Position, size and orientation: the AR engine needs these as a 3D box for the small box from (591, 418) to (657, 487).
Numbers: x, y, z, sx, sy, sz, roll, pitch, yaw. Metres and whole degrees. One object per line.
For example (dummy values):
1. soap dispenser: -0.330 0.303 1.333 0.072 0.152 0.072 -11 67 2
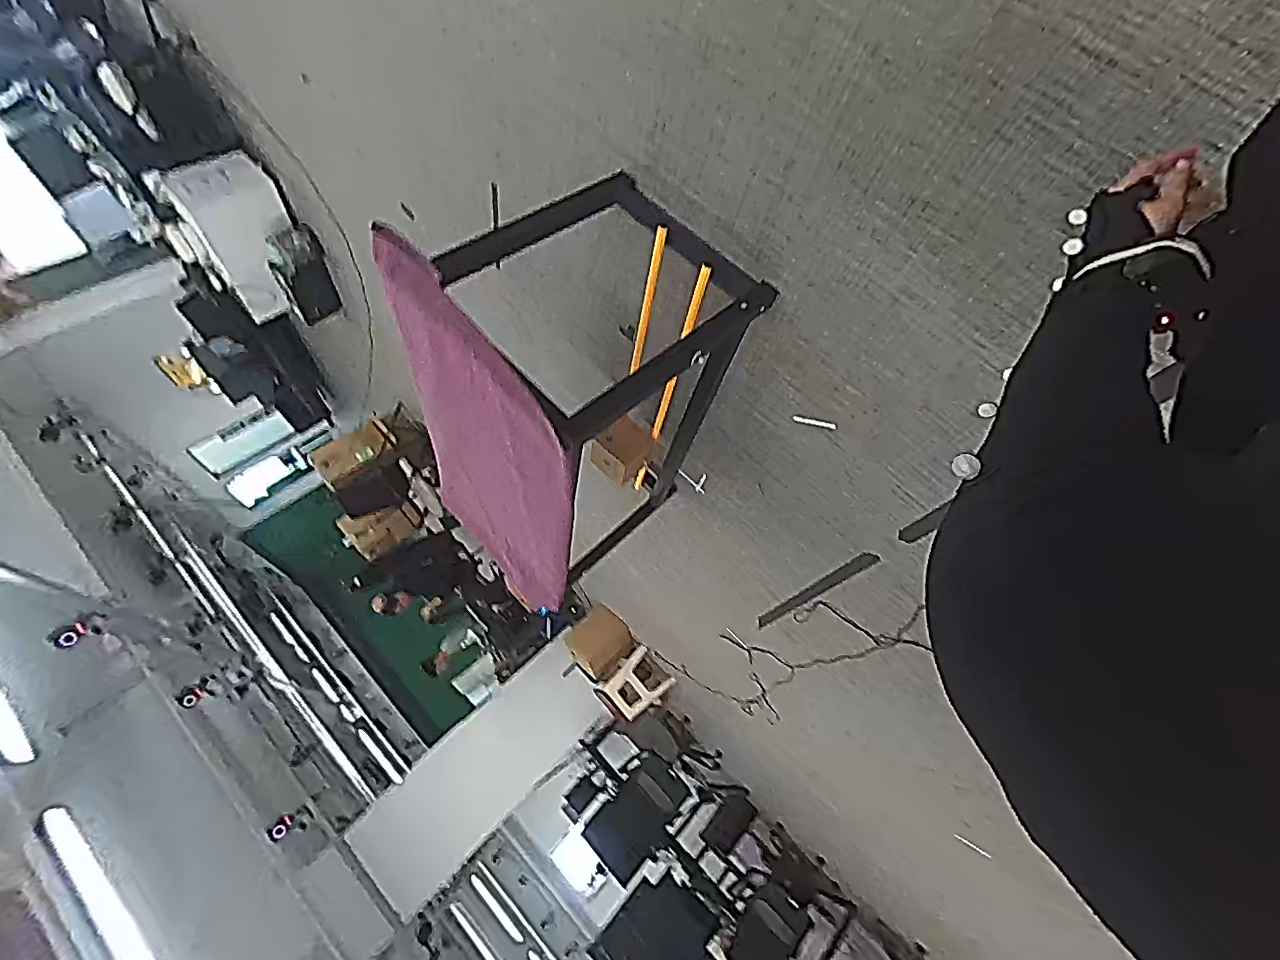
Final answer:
1. small box: -0.063 -0.114 2.066 0.179 0.176 0.168 40 153 15
